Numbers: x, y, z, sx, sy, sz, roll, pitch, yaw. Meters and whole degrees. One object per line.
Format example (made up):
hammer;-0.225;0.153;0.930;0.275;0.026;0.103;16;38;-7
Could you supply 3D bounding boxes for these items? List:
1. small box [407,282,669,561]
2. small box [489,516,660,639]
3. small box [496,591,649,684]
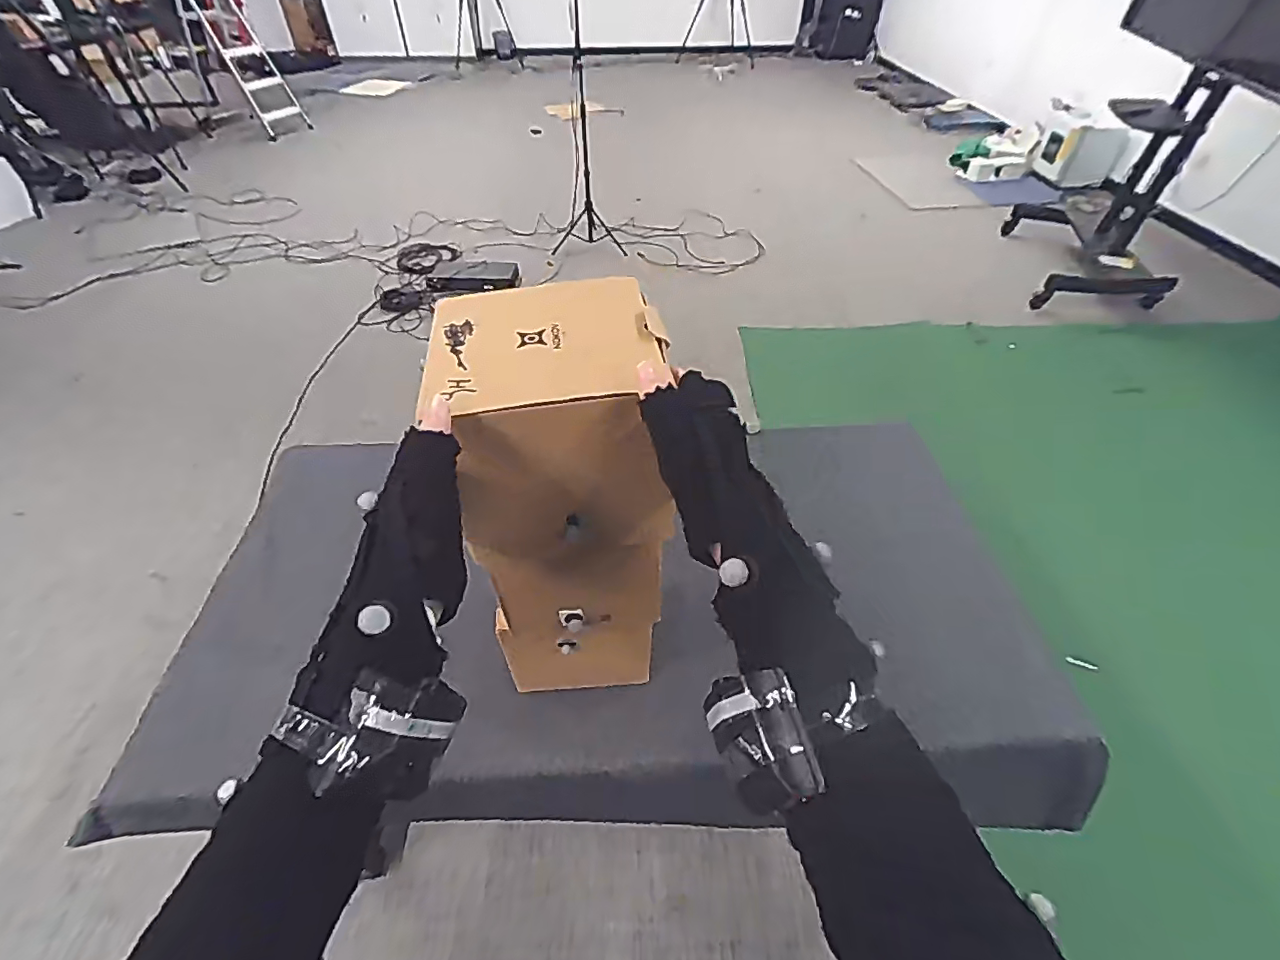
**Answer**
small box;-0.076;-0.049;0.470;0.179;0.176;0.168;-7;45;-5
small box;-0.072;0.051;0.601;0.168;0.176;0.179;-8;48;-4
small box;-0.080;0.159;0.722;0.179;0.176;0.168;-3;47;-3
